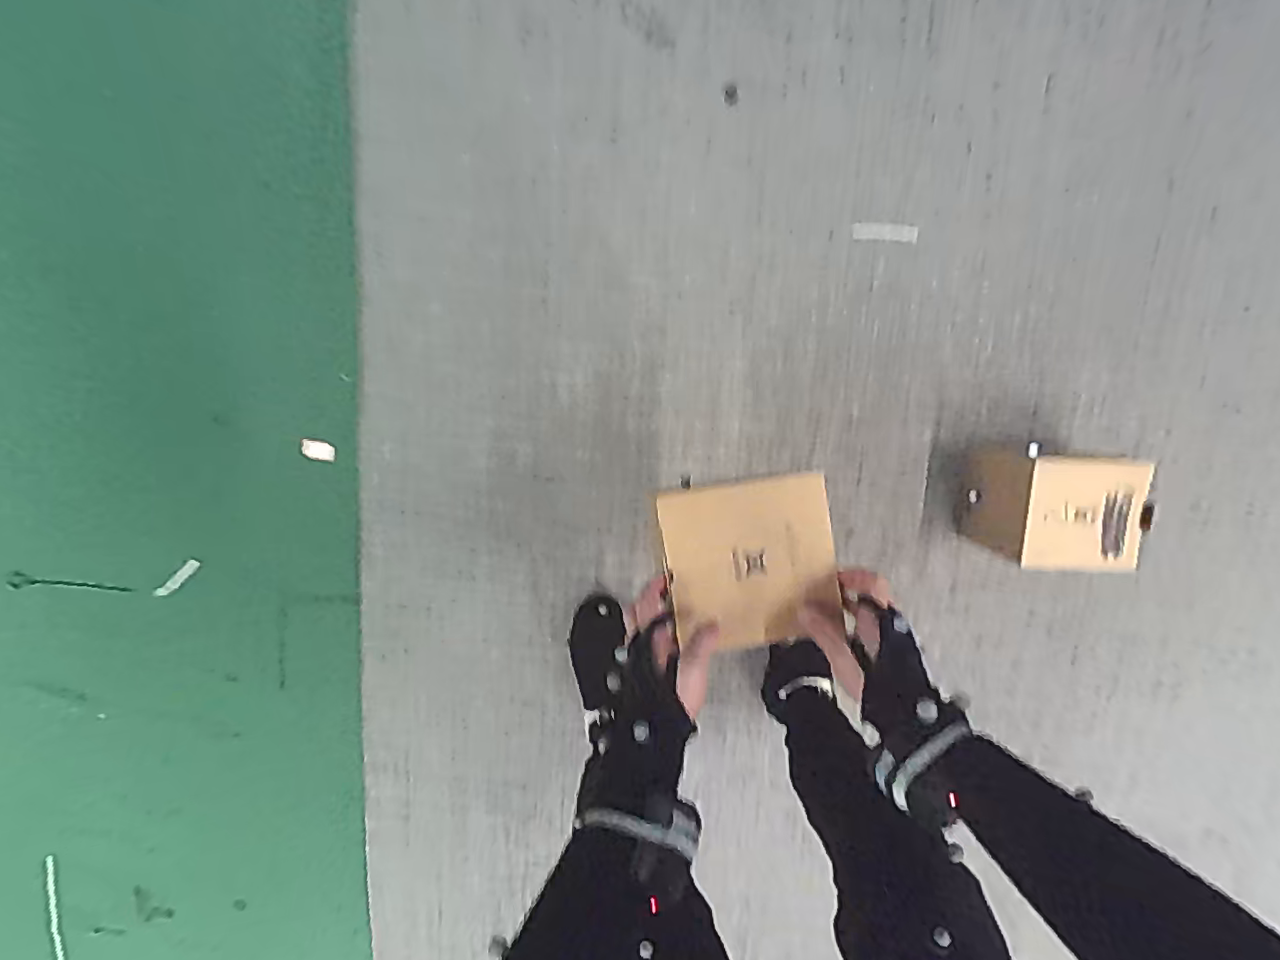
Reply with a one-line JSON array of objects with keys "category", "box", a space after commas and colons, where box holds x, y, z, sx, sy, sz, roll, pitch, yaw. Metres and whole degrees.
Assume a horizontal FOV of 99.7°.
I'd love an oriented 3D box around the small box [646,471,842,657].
[{"category": "small box", "box": [0.102, 0.084, 0.614, 0.179, 0.176, 0.168, -8, 91, -3]}]
